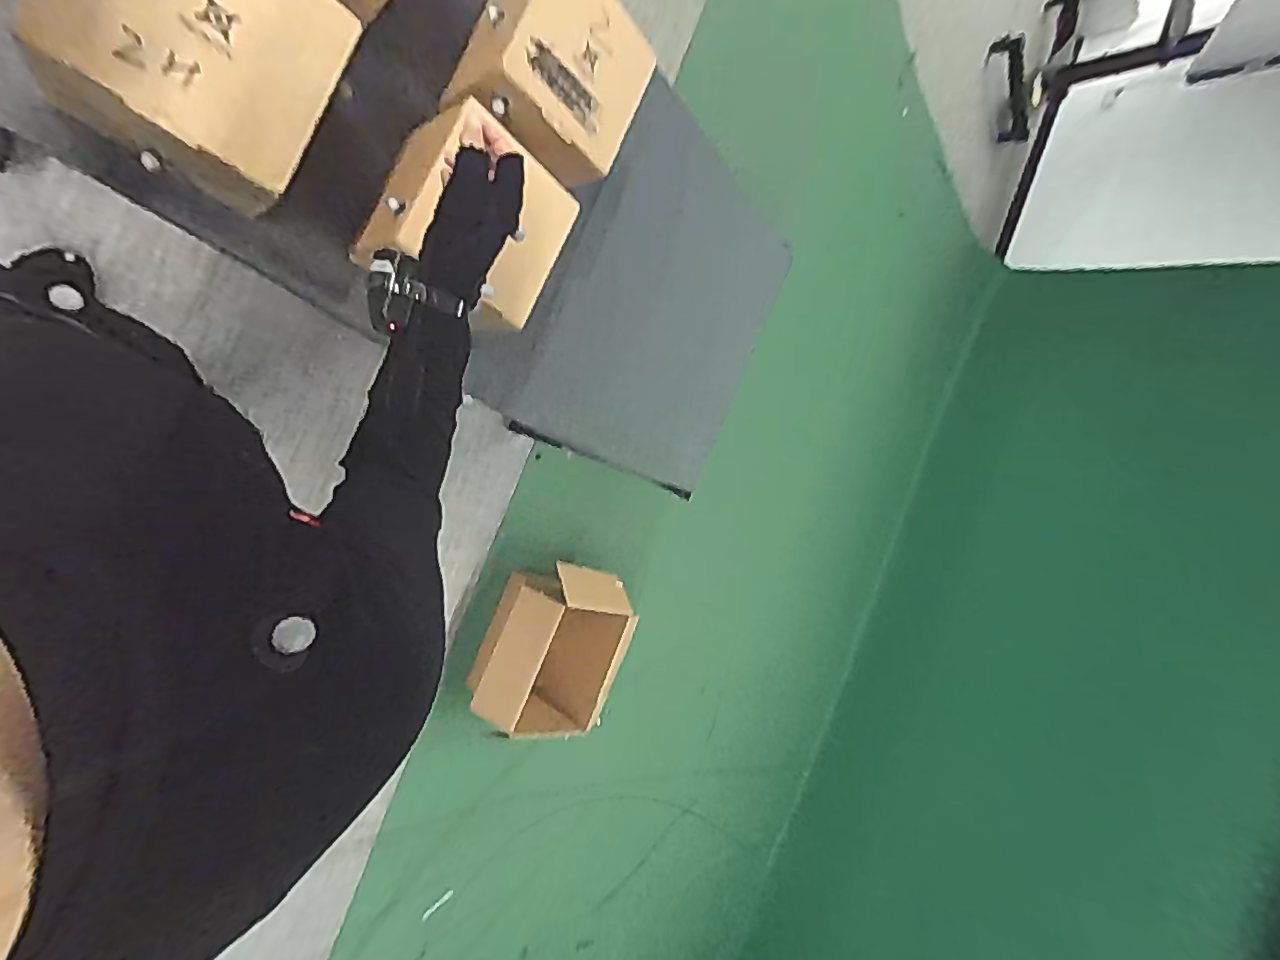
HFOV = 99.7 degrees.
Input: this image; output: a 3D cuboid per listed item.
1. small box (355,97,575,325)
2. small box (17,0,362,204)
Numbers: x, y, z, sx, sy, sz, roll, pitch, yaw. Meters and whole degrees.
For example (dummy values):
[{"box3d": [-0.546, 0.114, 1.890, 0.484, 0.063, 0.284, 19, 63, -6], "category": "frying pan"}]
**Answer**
[{"box3d": [-0.217, -0.312, 0.663, 0.168, 0.176, 0.179, 30, 82, -45], "category": "small box"}, {"box3d": [-0.385, -0.377, 0.477, 0.168, 0.176, 0.179, 27, 85, -45], "category": "small box"}]
